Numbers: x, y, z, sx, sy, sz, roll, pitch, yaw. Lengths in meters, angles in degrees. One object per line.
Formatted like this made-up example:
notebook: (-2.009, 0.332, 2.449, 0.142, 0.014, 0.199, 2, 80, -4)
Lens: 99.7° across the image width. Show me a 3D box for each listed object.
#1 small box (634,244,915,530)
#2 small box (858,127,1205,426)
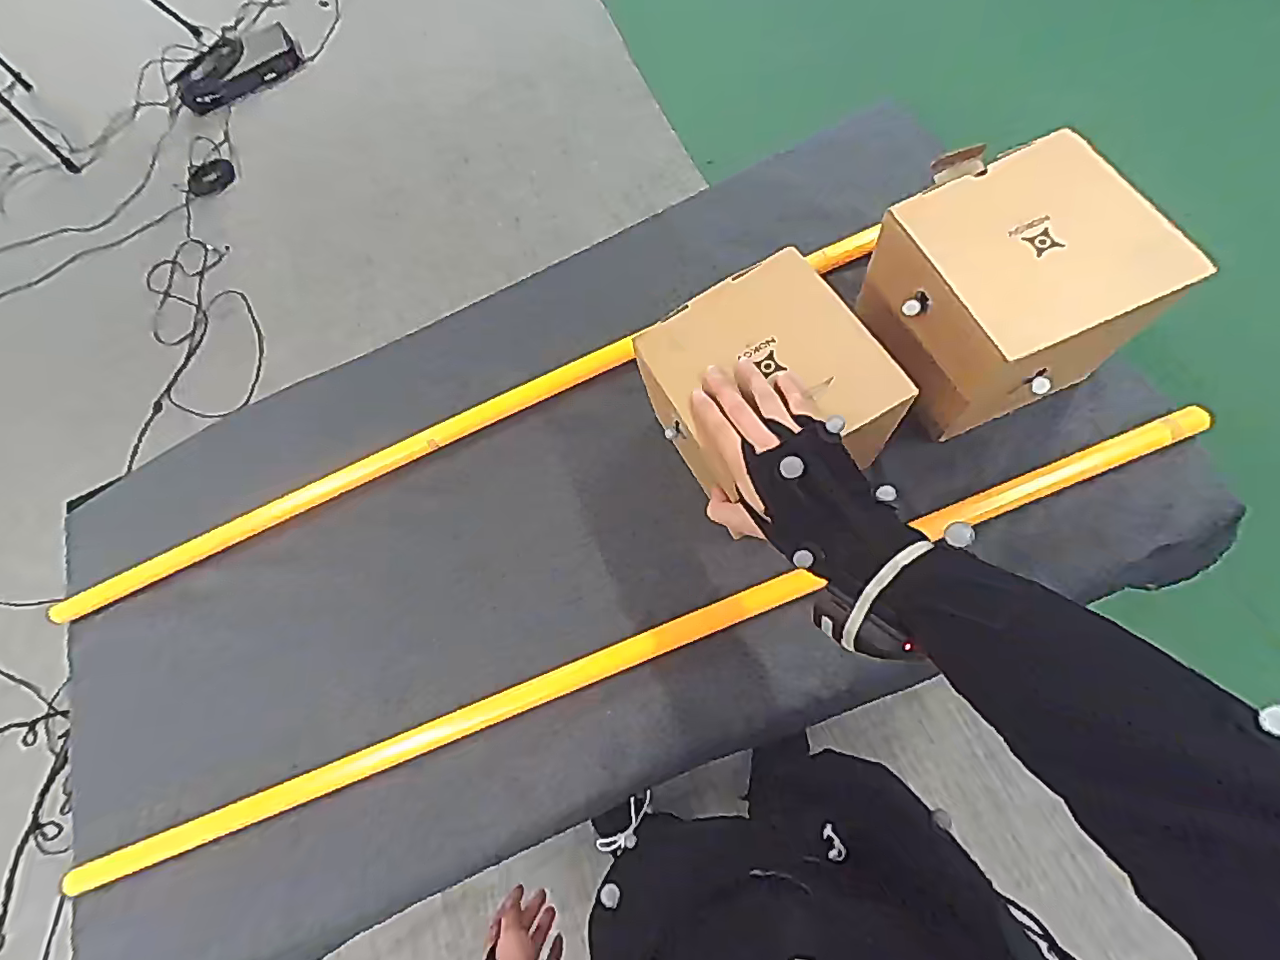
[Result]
small box: (0.117, -0.075, 0.518, 0.168, 0.176, 0.179, -31, 69, 1)
small box: (0.332, -0.170, 0.509, 0.168, 0.176, 0.179, -24, 68, 3)
